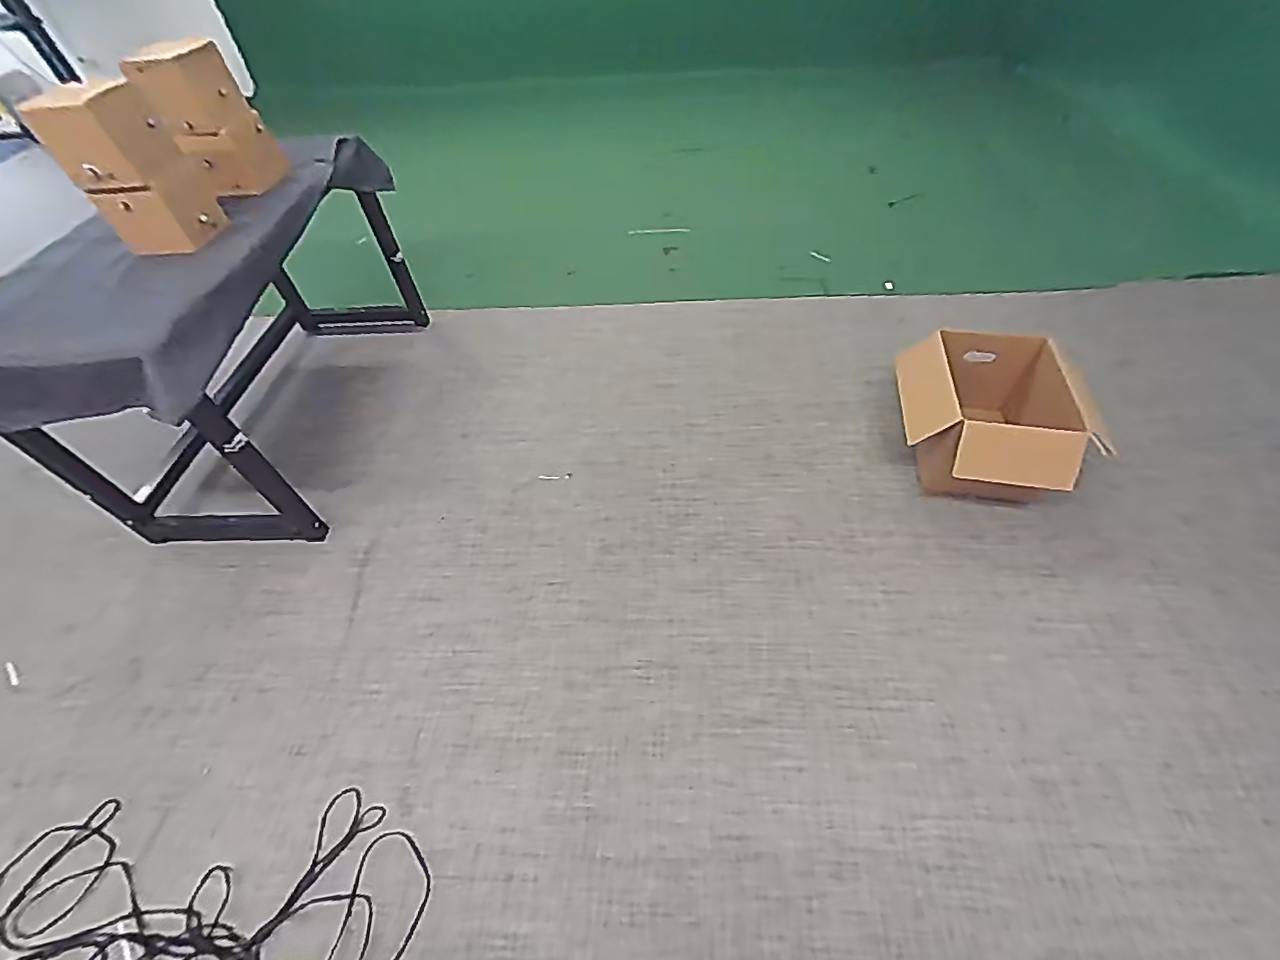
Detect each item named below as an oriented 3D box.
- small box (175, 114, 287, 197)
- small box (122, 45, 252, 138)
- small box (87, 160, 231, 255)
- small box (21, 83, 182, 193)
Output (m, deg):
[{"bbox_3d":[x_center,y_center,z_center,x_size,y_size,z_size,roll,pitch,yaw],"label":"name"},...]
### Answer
[{"bbox_3d":[-1.193,-0.953,1.597,0.168,0.176,0.179,0,50,5],"label":"small box"},{"bbox_3d":[-1.220,-1.056,1.466,0.168,0.176,0.179,3,51,8],"label":"small box"},{"bbox_3d":[-1.216,-0.693,1.384,0.179,0.176,0.168,-1,51,4],"label":"small box"},{"bbox_3d":[-1.226,-0.790,1.254,0.168,0.176,0.179,-3,52,4],"label":"small box"}]
